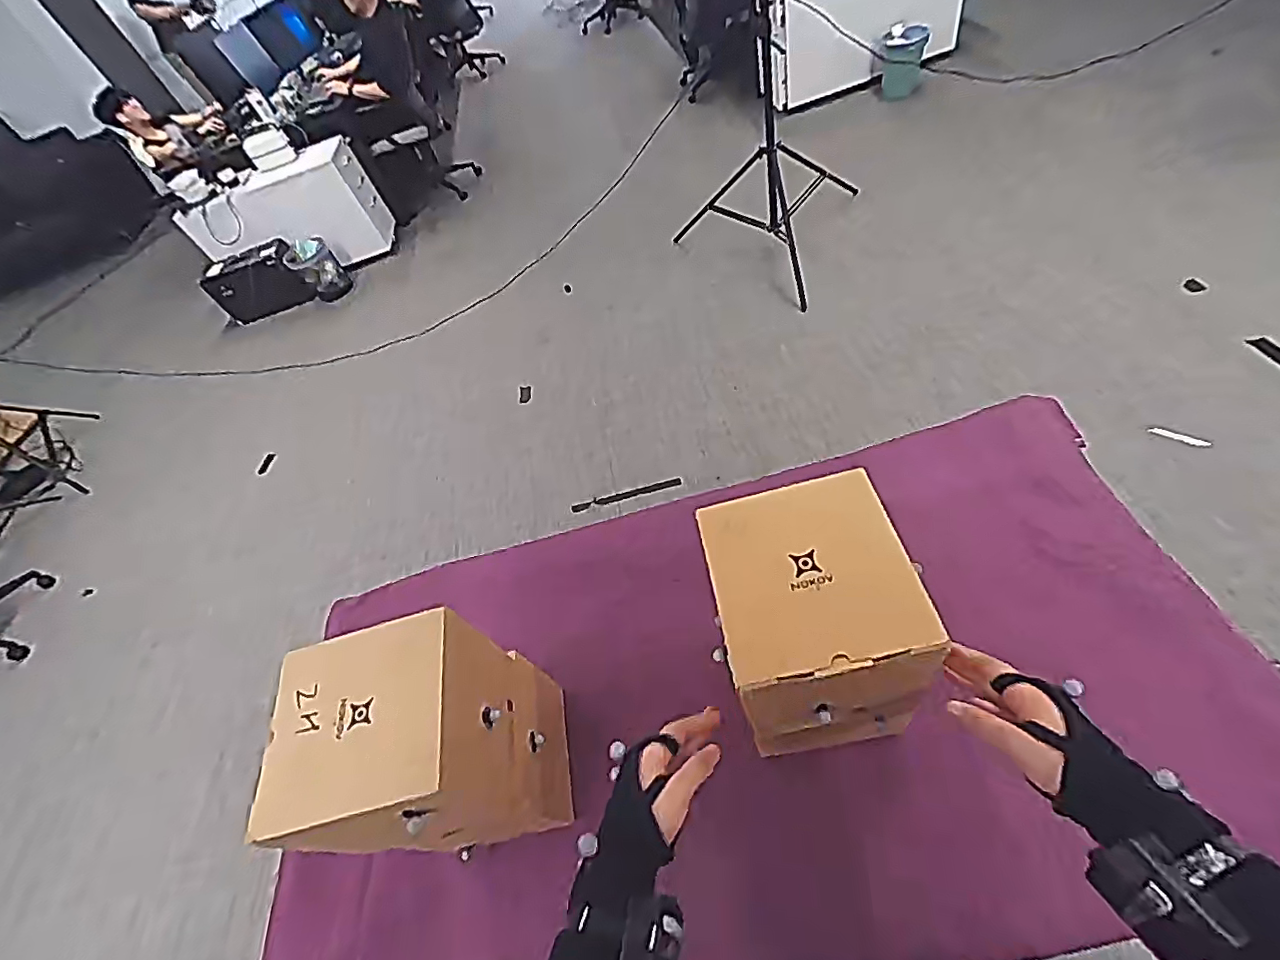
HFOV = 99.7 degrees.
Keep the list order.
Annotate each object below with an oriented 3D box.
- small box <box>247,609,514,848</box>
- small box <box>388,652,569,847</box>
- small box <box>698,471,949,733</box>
[{"bbox_3d":[-0.237,0.257,0.548,0.179,0.176,0.168,-17,51,4],"label":"small box"},{"bbox_3d":[-0.197,0.345,0.682,0.168,0.176,0.179,-16,51,4],"label":"small box"},{"bbox_3d":[0.162,0.123,0.527,0.168,0.176,0.179,-15,51,6],"label":"small box"}]
